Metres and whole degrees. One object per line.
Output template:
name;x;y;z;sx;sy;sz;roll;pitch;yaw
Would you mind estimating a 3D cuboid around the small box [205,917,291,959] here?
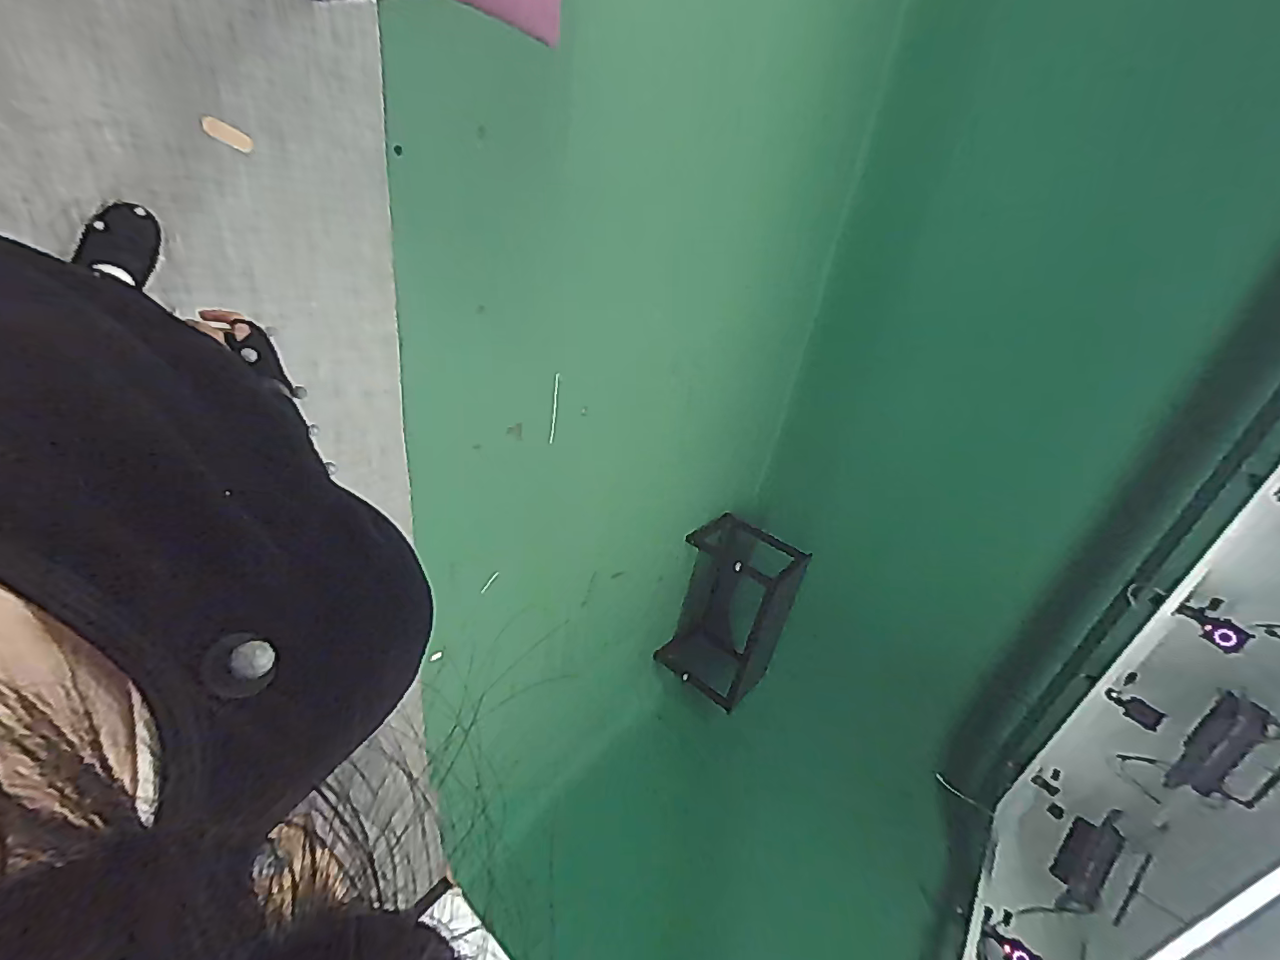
small box;-1.091;1.382;1.512;0.168;0.176;0.179;-30;134;-43
